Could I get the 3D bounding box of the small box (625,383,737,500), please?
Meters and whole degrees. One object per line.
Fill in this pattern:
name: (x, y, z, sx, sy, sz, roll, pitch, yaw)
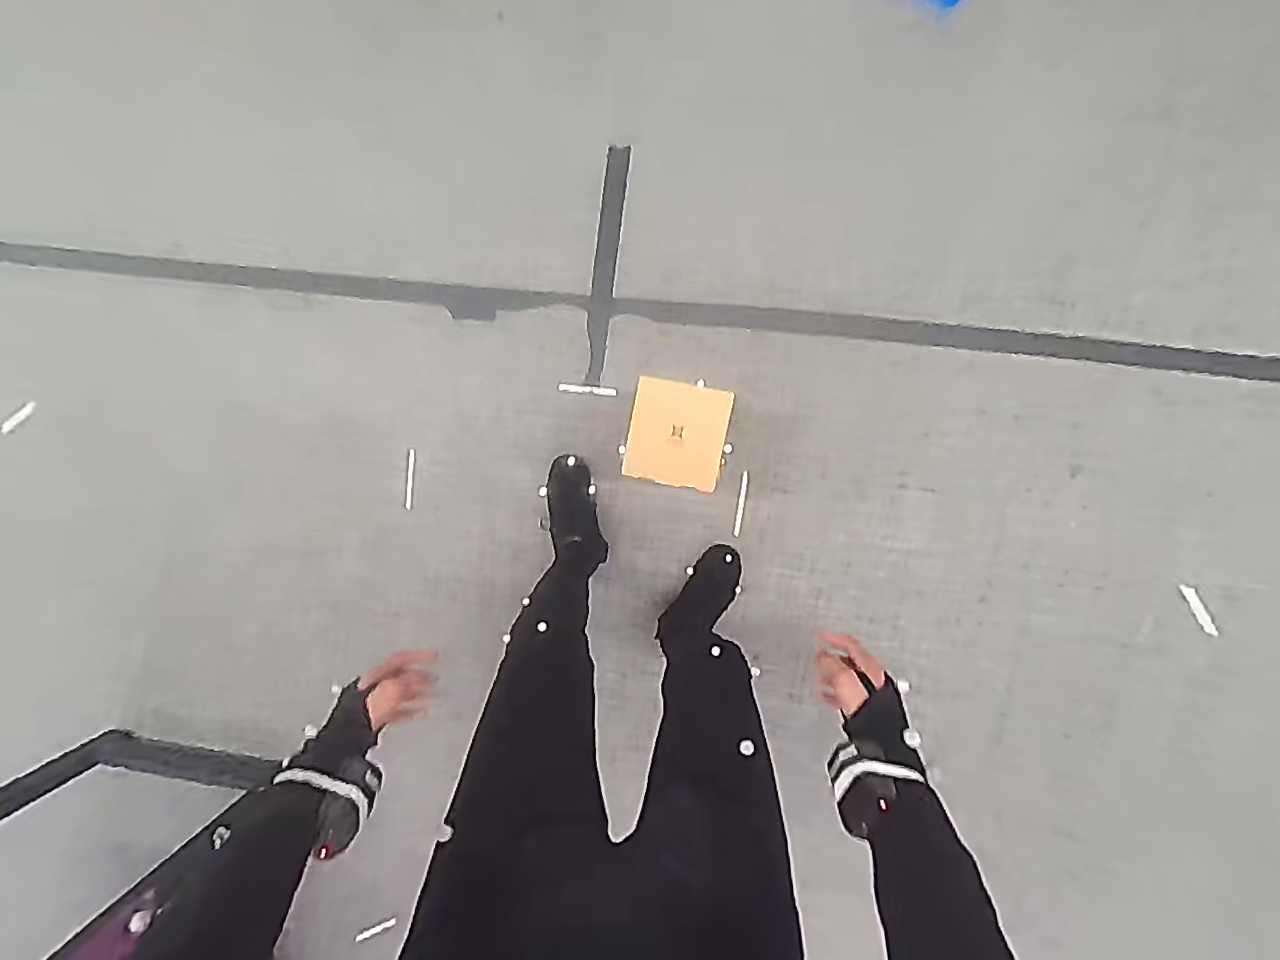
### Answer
small box: (0.075, -0.075, 1.006, 0.168, 0.176, 0.179, 12, 98, 4)
